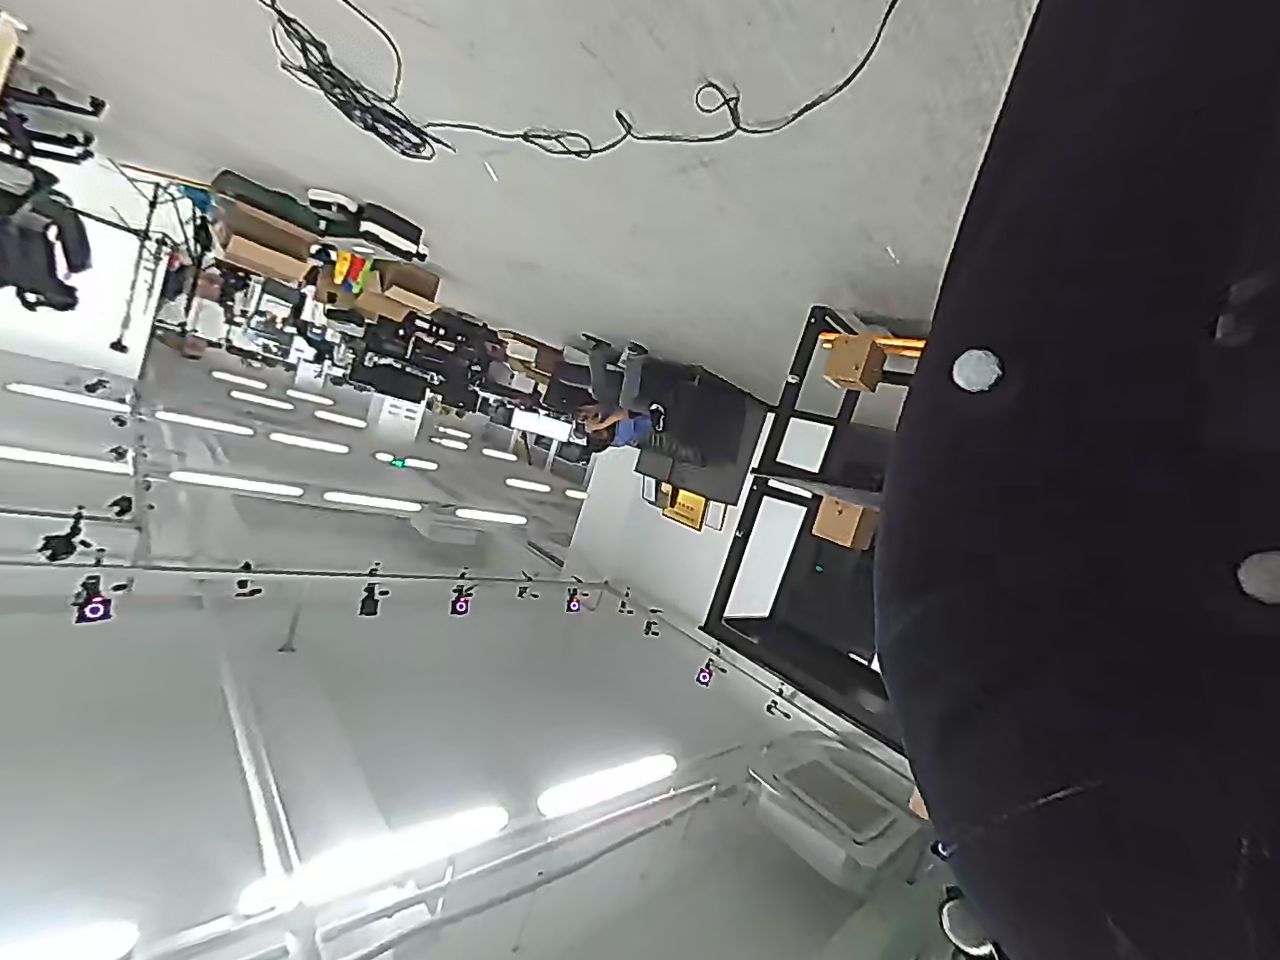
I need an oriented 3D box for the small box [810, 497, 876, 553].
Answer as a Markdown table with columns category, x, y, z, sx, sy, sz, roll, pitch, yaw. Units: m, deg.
| category | x | y | z | sx | sy | sz | roll | pitch | yaw |
| --- | --- | --- | --- | --- | --- | --- | --- | --- | --- |
| small box | 0.808 | 0.176 | 2.141 | 0.179 | 0.176 | 0.168 | 13 | -175 | -45 |
